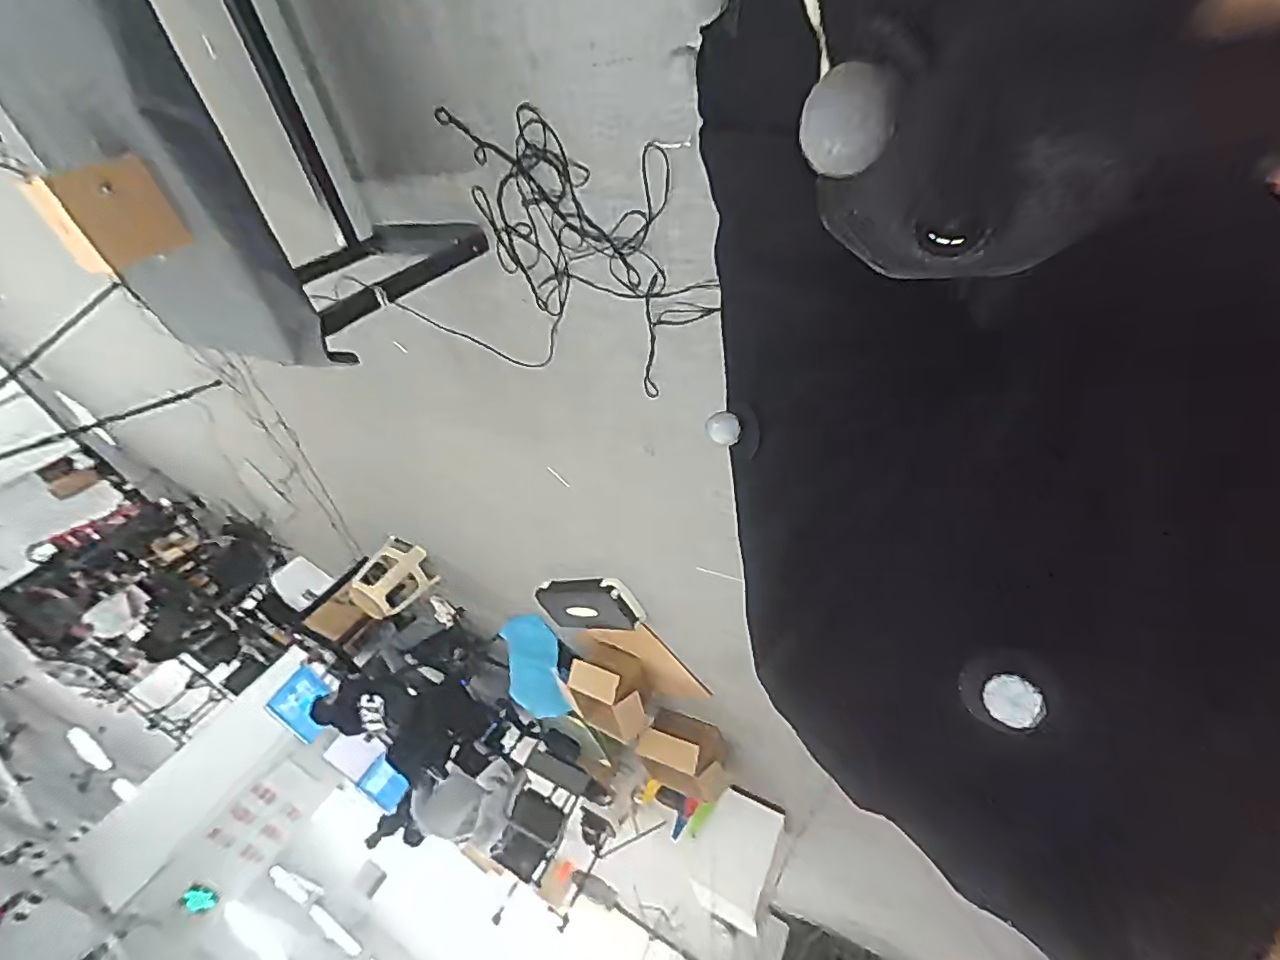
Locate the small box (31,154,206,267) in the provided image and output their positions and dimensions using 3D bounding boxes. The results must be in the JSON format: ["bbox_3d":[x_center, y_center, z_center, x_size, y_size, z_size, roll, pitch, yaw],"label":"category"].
[{"bbox_3d":[-1.063,-0.556,1.114,0.168,0.176,0.179,13,135,31],"label":"small box"}]
